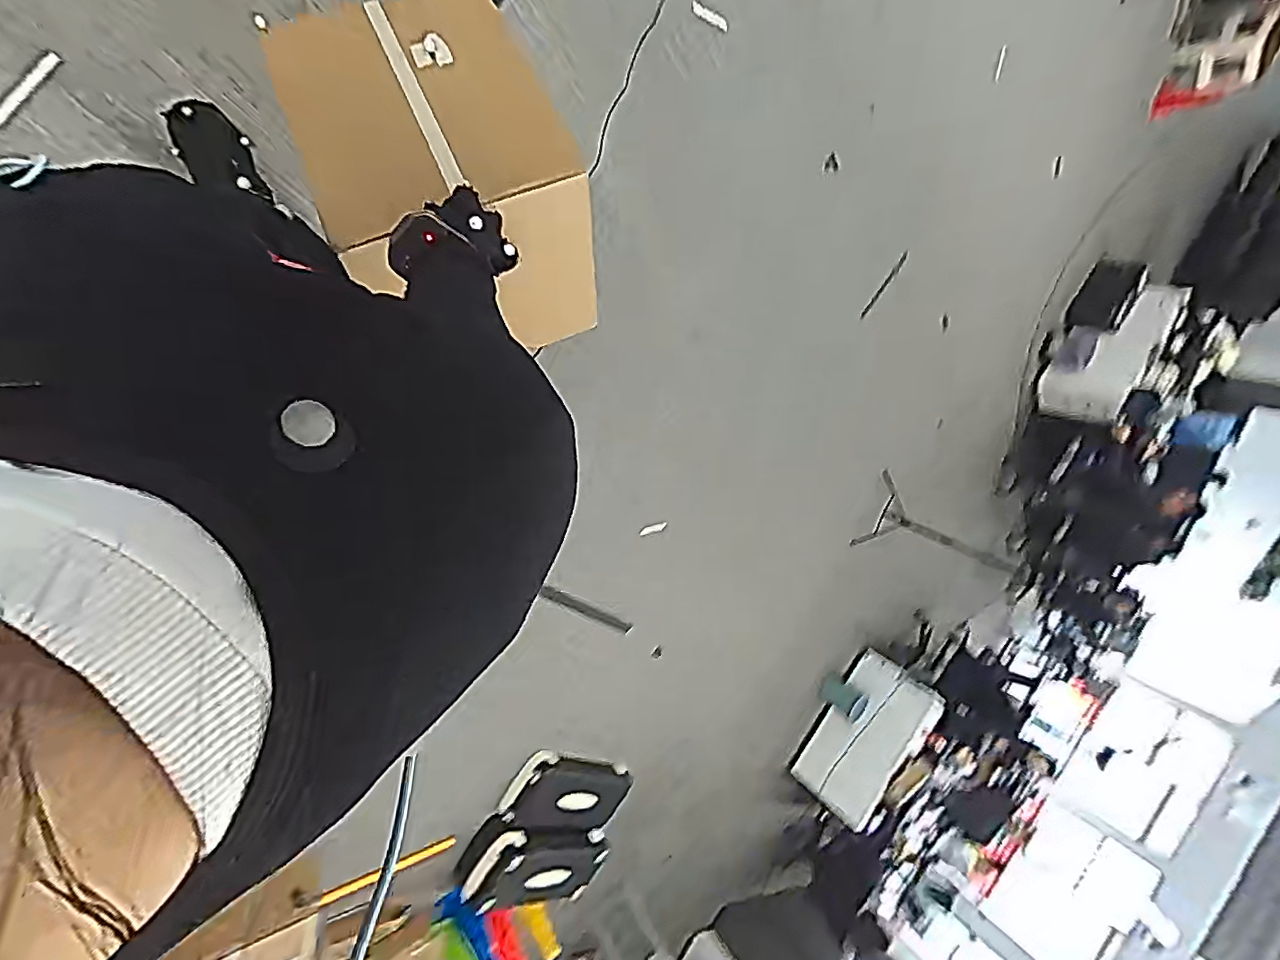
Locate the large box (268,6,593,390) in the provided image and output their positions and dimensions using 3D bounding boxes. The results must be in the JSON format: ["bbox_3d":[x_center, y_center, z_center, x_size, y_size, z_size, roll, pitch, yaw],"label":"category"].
[{"bbox_3d":[-0.298,-0.423,0.853,0.320,0.408,0.320,-23,162,-11],"label":"large box"}]
